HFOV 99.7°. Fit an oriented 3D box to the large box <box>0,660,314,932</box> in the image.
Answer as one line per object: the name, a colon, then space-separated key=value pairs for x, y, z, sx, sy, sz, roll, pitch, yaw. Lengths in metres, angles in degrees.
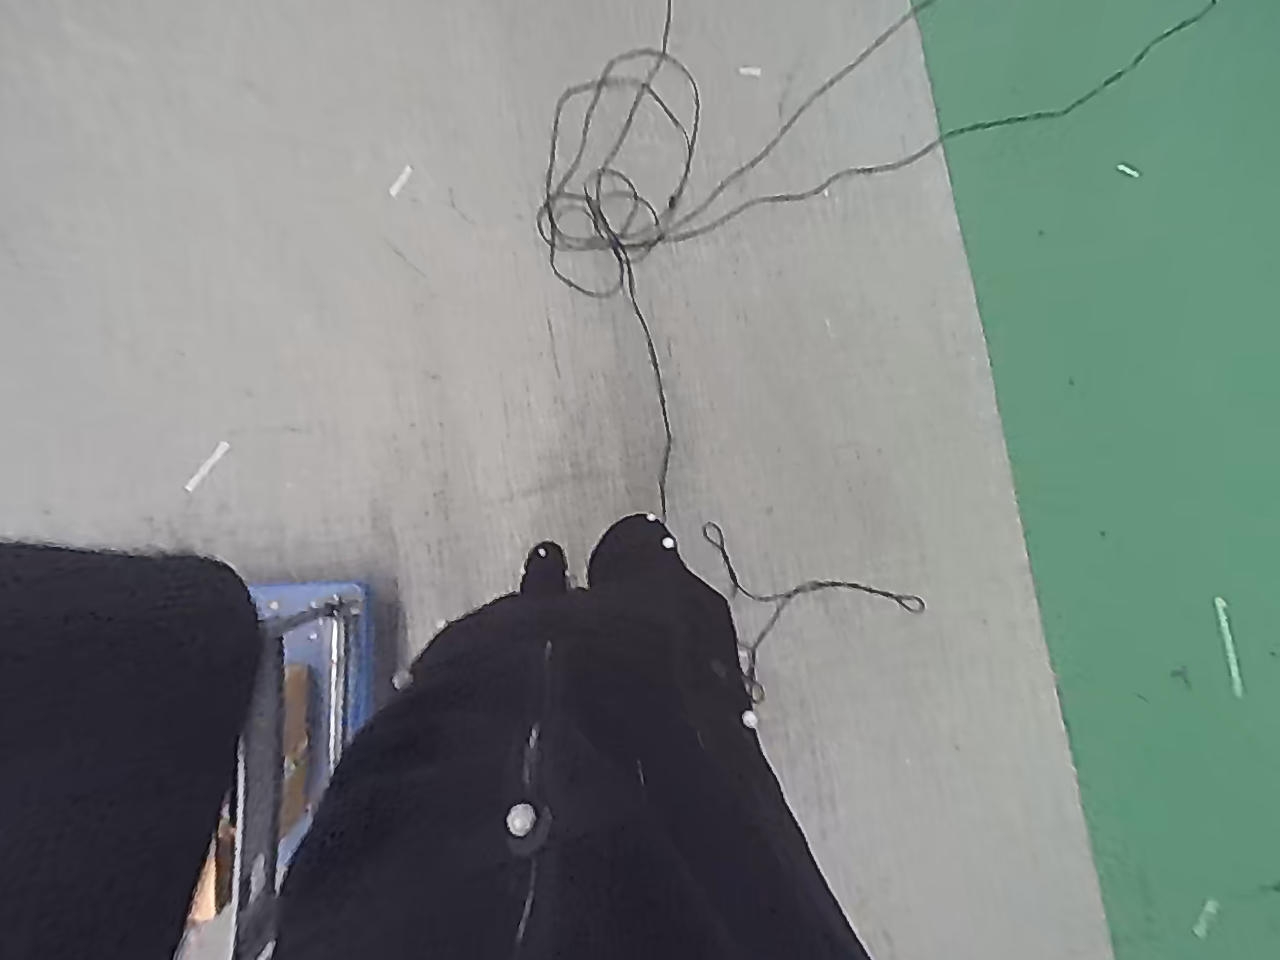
large box: x=-0.865 y=0.527 z=0.972 sx=0.408 sy=0.320 sz=0.320 roll=0 pitch=85 yaw=-9
